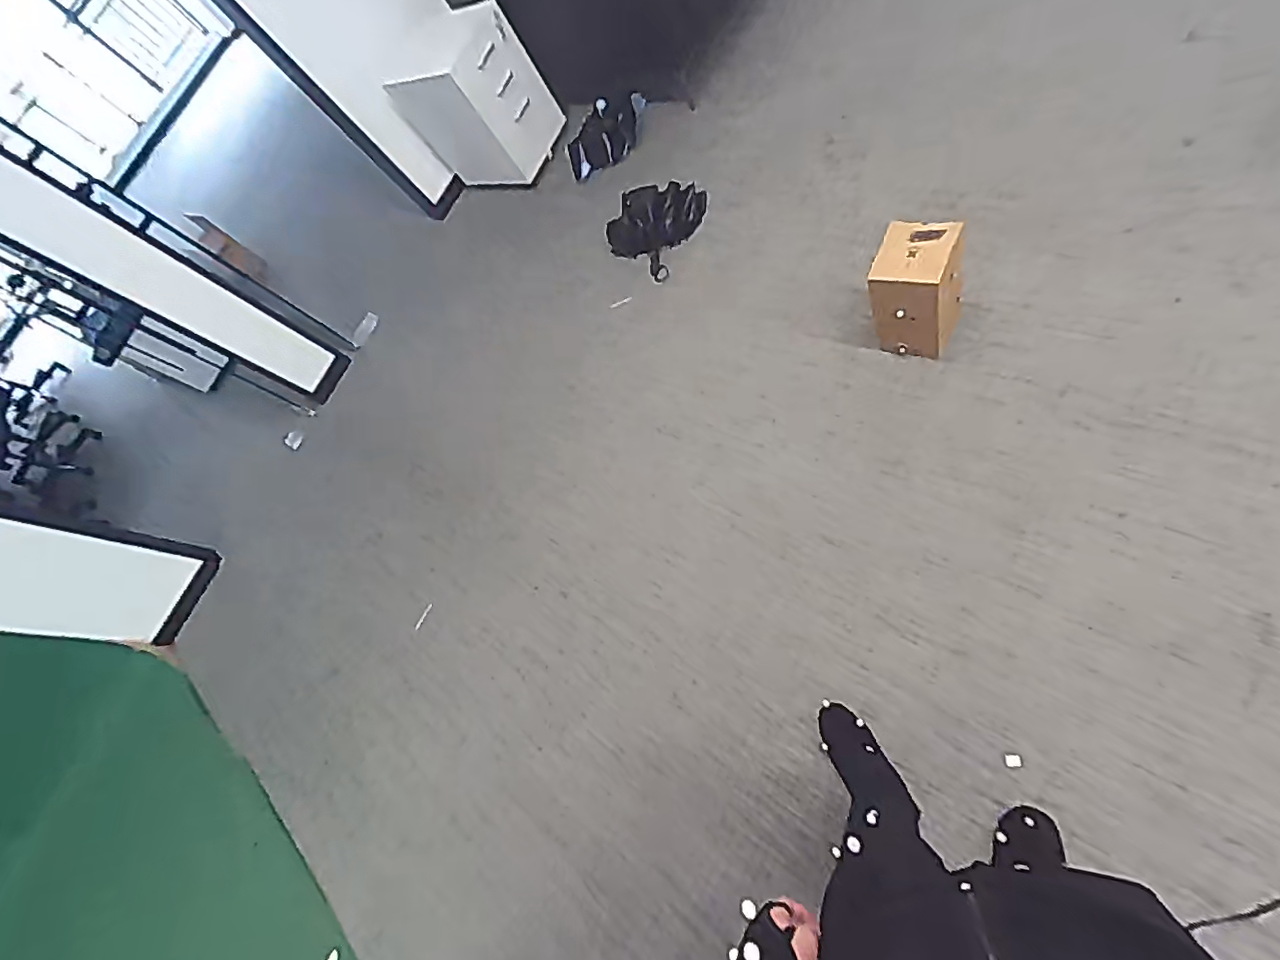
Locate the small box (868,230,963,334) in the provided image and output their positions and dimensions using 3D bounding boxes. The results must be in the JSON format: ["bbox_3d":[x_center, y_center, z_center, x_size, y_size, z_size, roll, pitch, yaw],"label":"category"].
[{"bbox_3d":[0.693,-0.499,1.364,0.168,0.176,0.179,20,79,34],"label":"small box"}]

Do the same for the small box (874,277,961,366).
[{"bbox_3d":[0.769,-0.445,1.499,0.168,0.176,0.179,20,80,34],"label":"small box"}]
